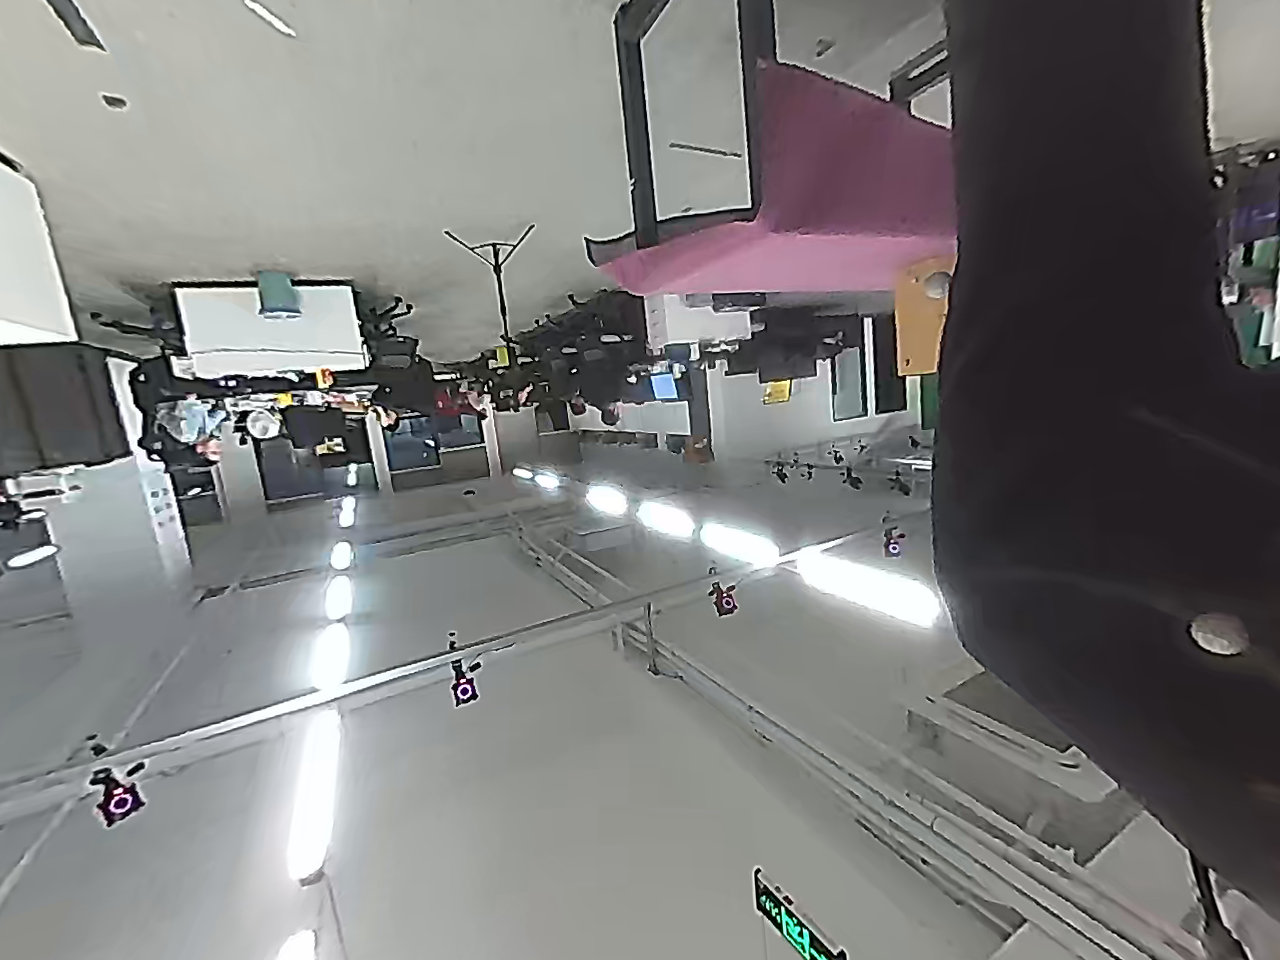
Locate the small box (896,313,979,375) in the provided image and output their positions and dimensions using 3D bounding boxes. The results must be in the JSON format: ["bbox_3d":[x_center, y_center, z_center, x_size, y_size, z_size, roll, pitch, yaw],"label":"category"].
[{"bbox_3d":[0.931,-0.424,1.693,0.168,0.176,0.179,-9,-170,-15],"label":"small box"}]

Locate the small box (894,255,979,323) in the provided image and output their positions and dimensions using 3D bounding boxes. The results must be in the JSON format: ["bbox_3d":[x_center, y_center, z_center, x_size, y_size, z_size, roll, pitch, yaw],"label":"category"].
[{"bbox_3d":[0.908,-0.584,1.658,0.179,0.176,0.168,-8,-171,-16],"label":"small box"}]
